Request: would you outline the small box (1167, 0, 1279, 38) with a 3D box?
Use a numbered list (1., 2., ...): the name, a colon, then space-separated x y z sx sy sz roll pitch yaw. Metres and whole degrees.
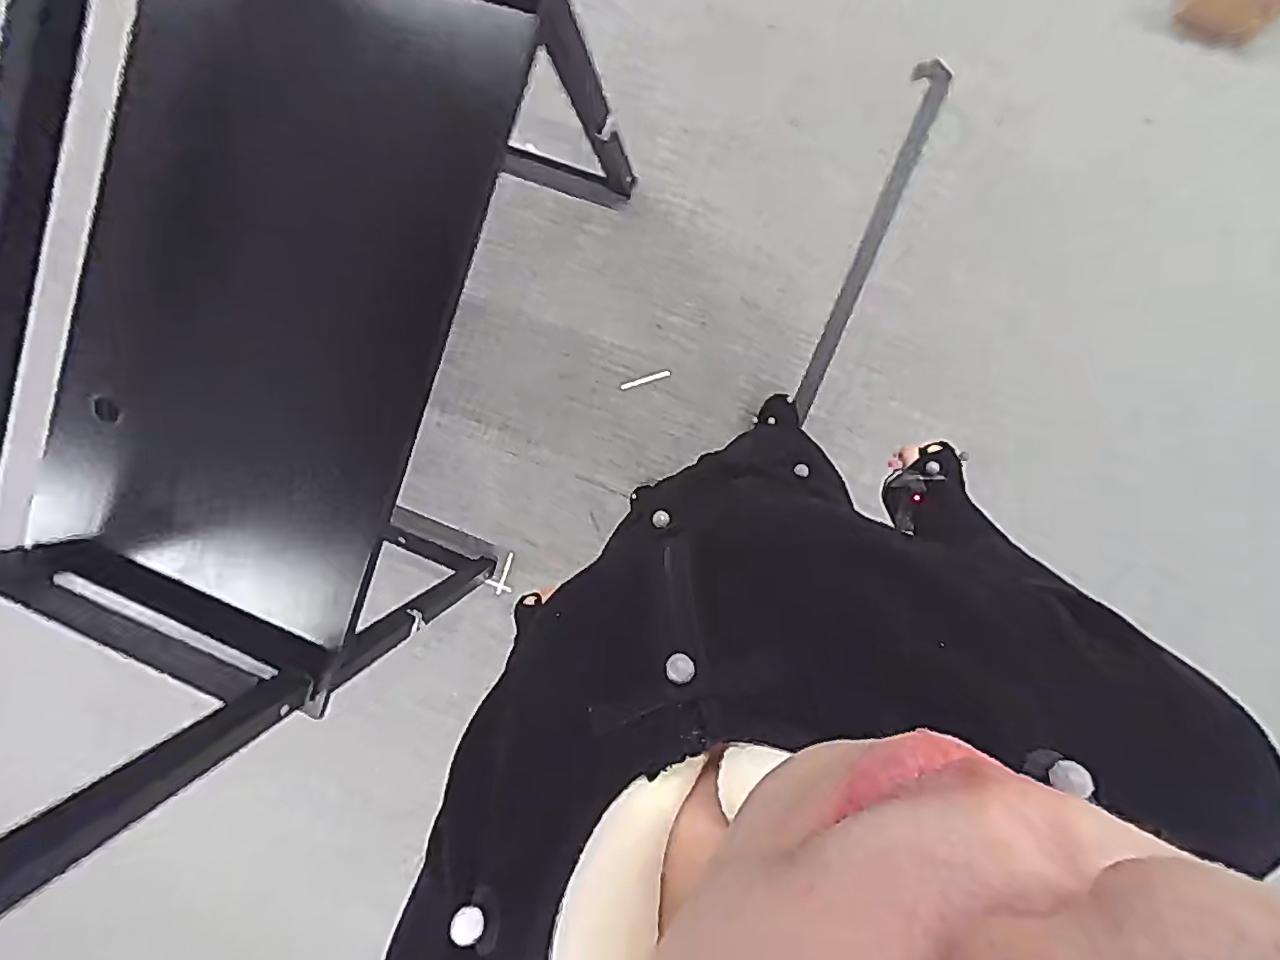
1. small box: 1.286 -1.078 1.125 0.179 0.176 0.168 24 99 5
